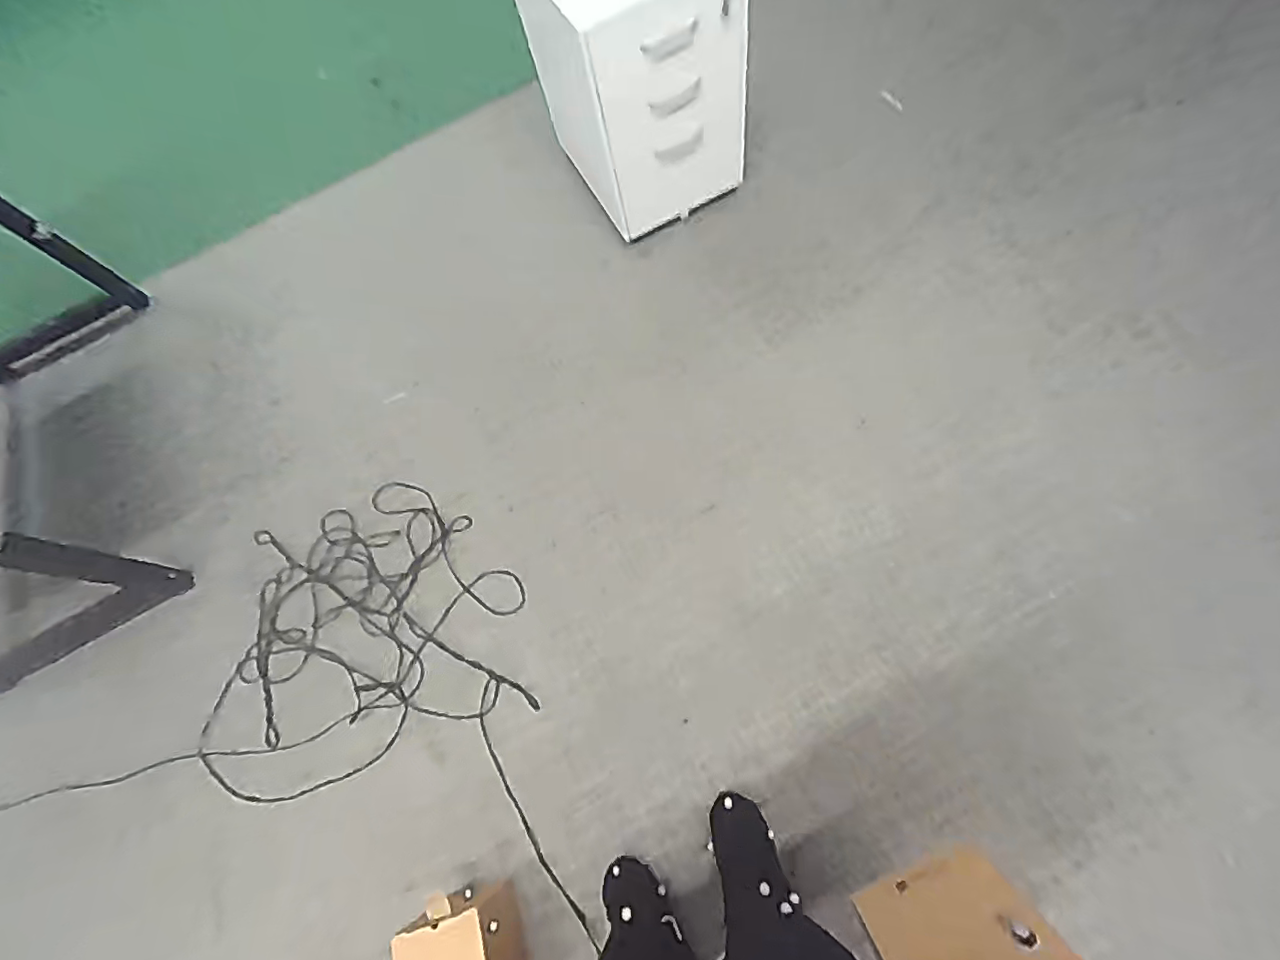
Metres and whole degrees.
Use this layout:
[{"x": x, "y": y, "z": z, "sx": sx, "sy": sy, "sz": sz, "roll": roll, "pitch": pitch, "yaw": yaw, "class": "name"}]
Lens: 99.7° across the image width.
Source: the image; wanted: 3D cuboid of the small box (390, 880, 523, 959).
[{"x": -0.324, "y": 0.870, "z": 0.980, "sx": 0.168, "sy": 0.176, "sz": 0.179, "roll": -19, "pitch": 65, "yaw": 1, "class": "small box"}]
